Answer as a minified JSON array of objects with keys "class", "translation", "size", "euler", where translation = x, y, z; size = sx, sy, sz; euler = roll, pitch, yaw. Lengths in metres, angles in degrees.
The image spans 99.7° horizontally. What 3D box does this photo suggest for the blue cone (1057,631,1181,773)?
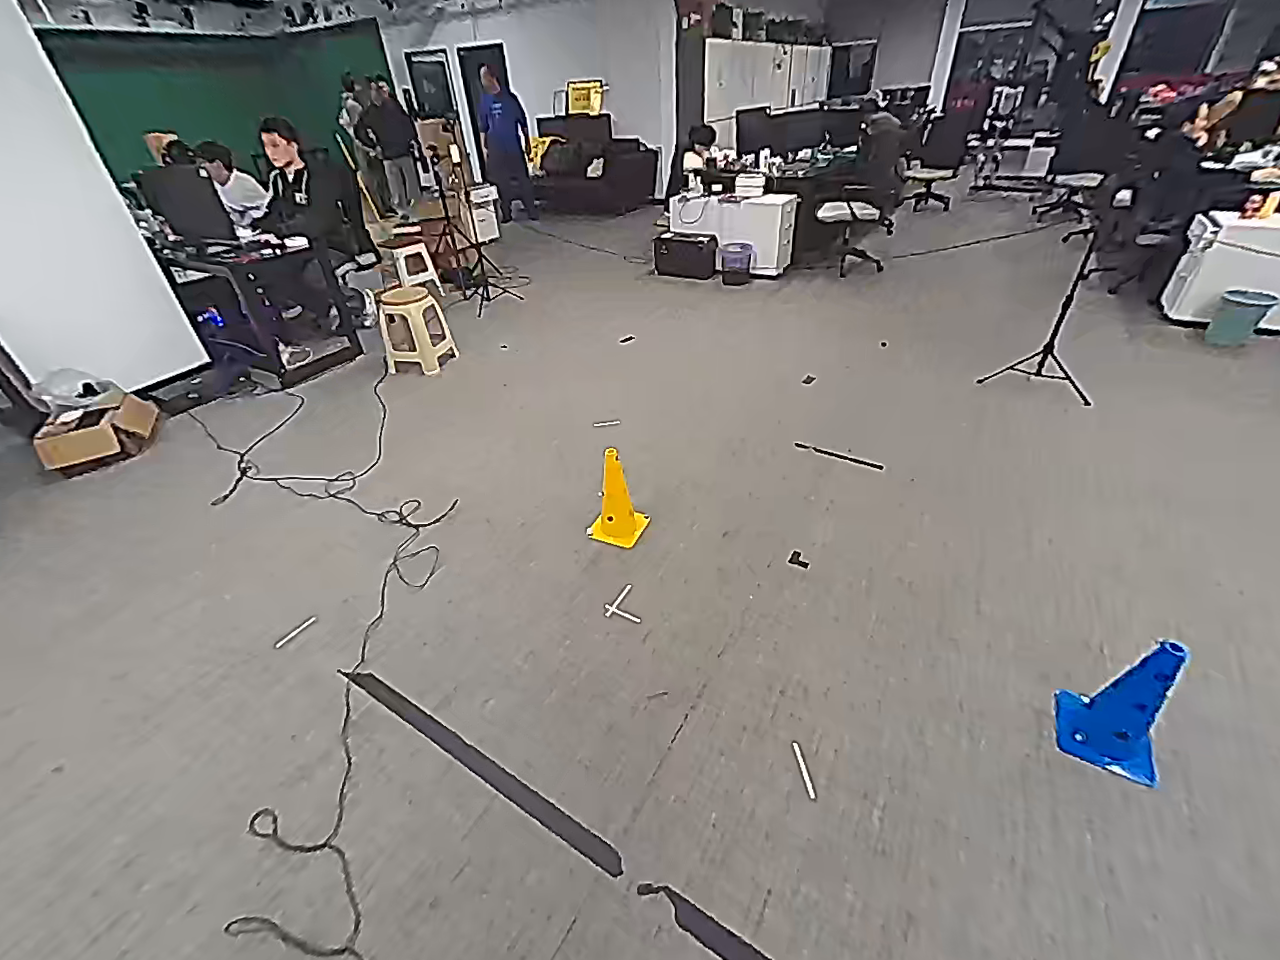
[{"class":"blue cone","translation":[1.176,0.503,1.289],"size":[0.193,0.380,0.192],"euler":[18,40,27]}]
